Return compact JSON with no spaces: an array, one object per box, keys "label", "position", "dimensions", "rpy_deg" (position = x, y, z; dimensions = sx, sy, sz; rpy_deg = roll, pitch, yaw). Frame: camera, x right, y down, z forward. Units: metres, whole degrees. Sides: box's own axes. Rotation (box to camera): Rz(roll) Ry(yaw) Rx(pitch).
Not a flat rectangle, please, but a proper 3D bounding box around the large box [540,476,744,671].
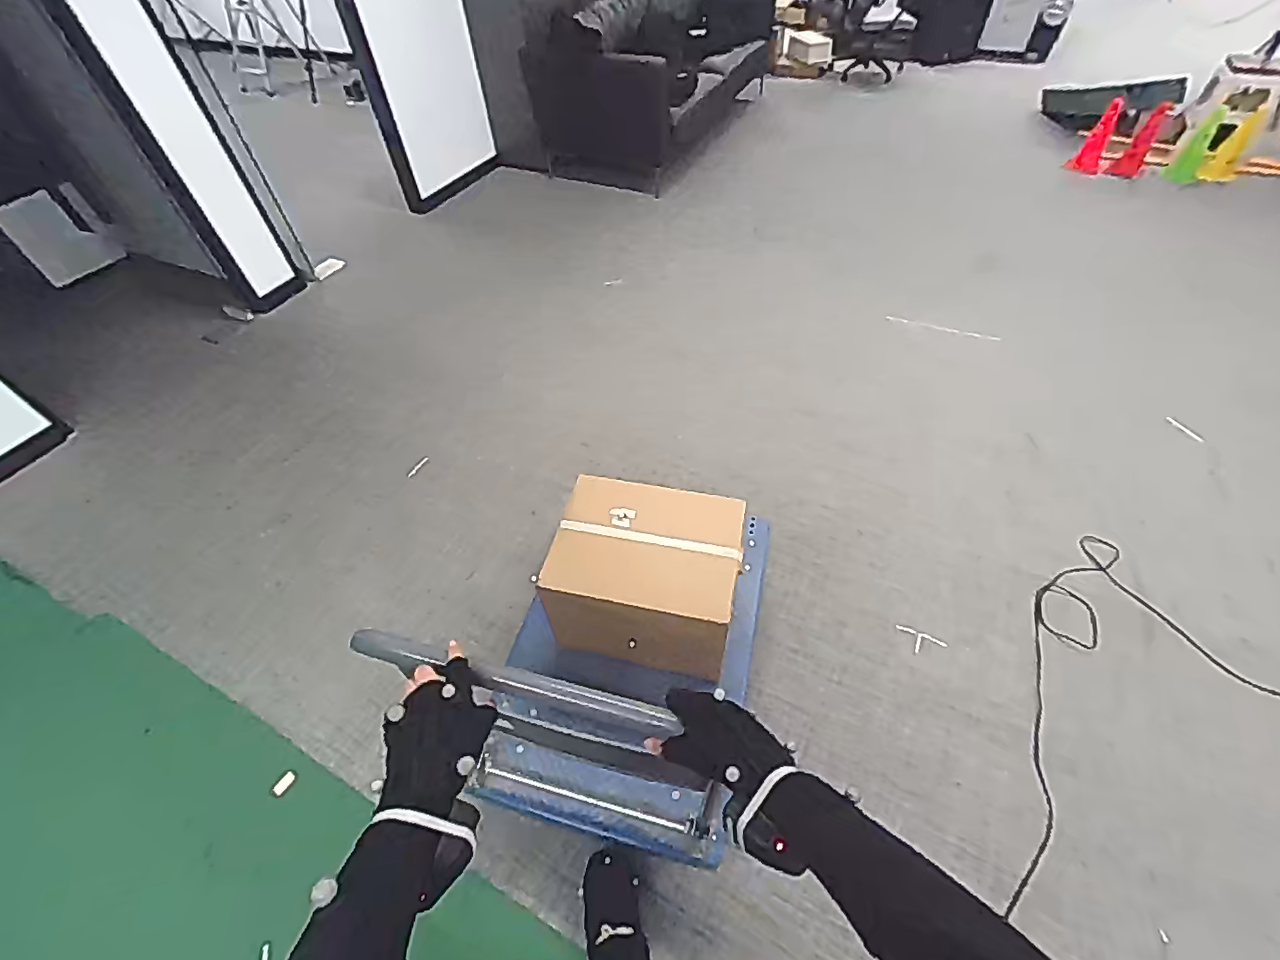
[{"label":"large box","position":[0.024,0.225,1.299],"dimensions":[0.408,0.320,0.320],"rpy_deg":[9,51,11]}]
